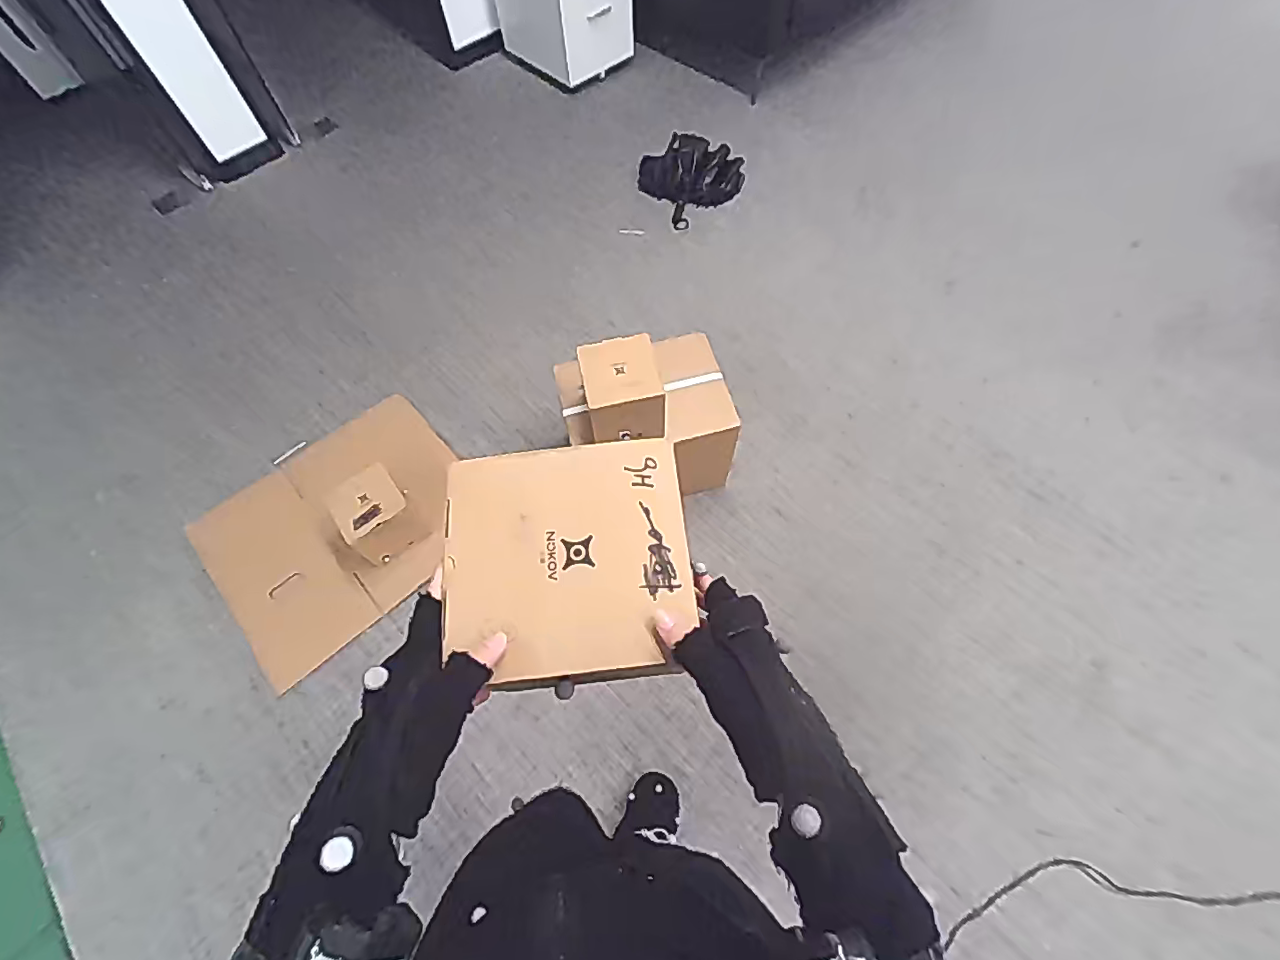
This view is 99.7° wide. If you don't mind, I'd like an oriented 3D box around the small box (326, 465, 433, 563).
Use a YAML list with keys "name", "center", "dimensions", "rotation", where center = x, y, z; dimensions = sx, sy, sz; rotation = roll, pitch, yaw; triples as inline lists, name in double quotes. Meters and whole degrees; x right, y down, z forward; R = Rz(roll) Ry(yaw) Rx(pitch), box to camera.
- name: "small box"
  center: [-0.681, 0.099, 1.432]
  dimensions: [0.168, 0.176, 0.179]
  rotation: [-35, 64, -15]

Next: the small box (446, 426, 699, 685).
- name: "small box"
  center: [-0.052, 0.075, 0.469]
  dimensions: [0.179, 0.176, 0.168]
  rotation: [-9, 66, -2]

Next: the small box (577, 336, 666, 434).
- name: "small box"
  center: [-0.041, -0.194, 1.236]
  dimensions: [0.168, 0.176, 0.179]
  rotation: [-13, 64, -4]
